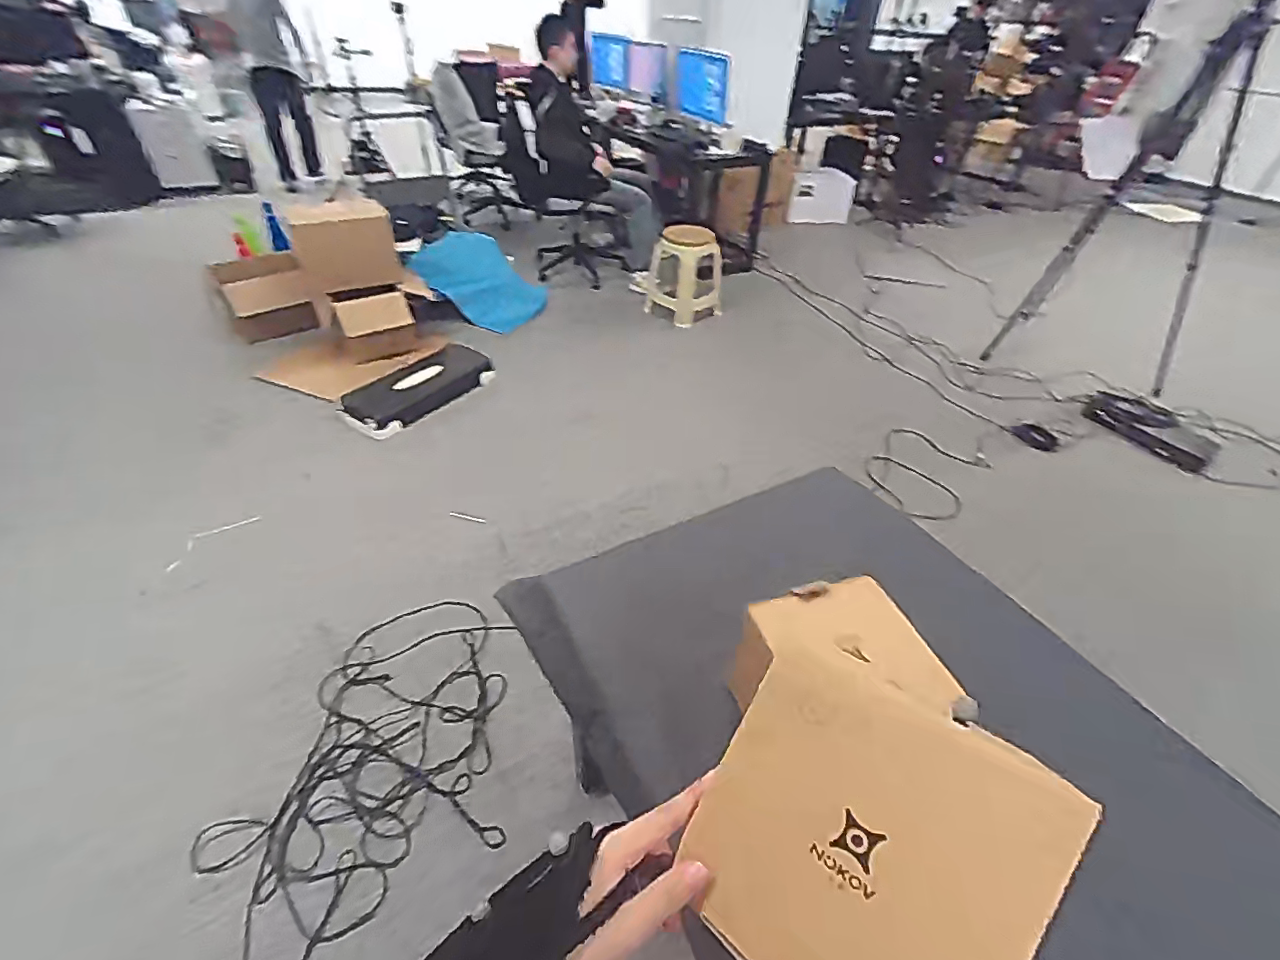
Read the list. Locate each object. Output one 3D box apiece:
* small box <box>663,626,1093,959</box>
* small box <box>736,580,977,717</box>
[{"bbox_3d":[0.148,0.217,0.359,0.168,0.176,0.179,25,87,31],"label":"small box"},{"bbox_3d":[0.224,0.247,0.619,0.168,0.176,0.179,-10,43,-13],"label":"small box"}]
